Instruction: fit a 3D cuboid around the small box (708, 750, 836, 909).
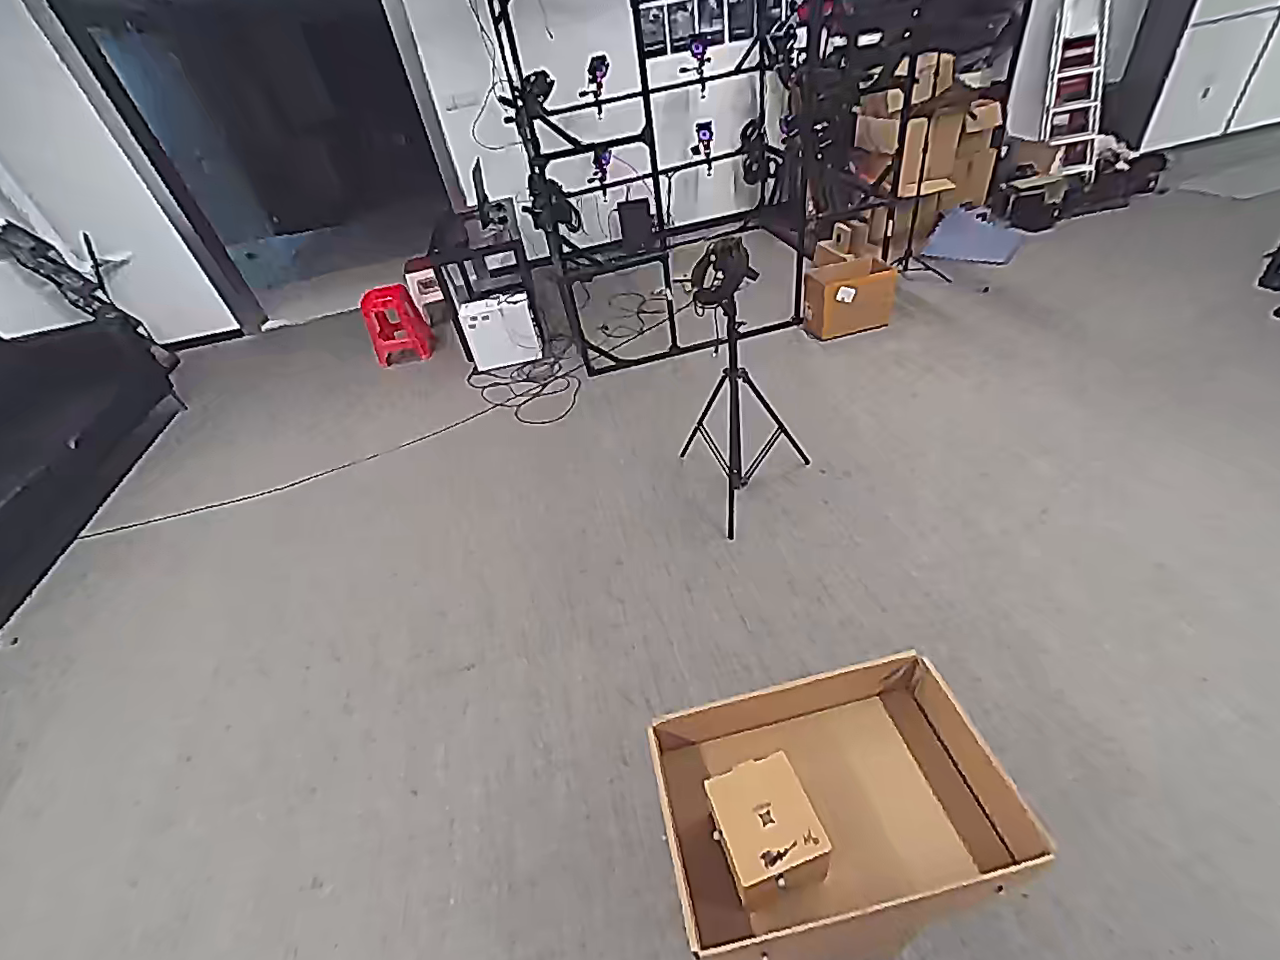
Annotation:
[{"bbox_3d":[0.238,0.647,1.002,0.168,0.176,0.179,-18,40,-7],"label":"small box"}]
